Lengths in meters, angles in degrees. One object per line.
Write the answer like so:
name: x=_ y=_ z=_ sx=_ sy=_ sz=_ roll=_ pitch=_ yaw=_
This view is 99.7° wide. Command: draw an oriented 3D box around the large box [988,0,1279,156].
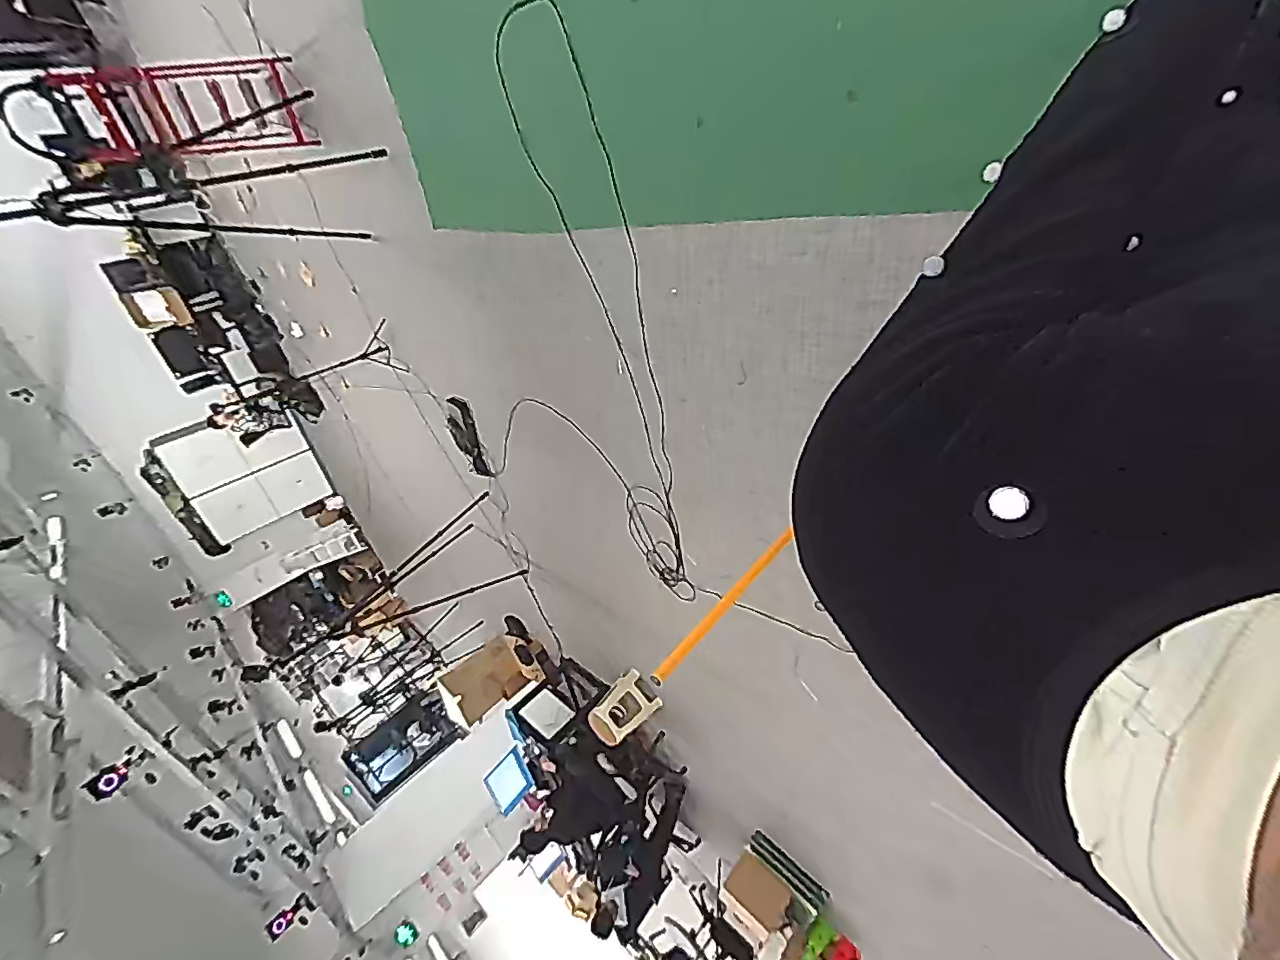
large box: x=0.432 y=-0.337 z=0.188 sx=0.408 sy=0.320 sz=0.320 roll=1 pitch=104 yaw=5
